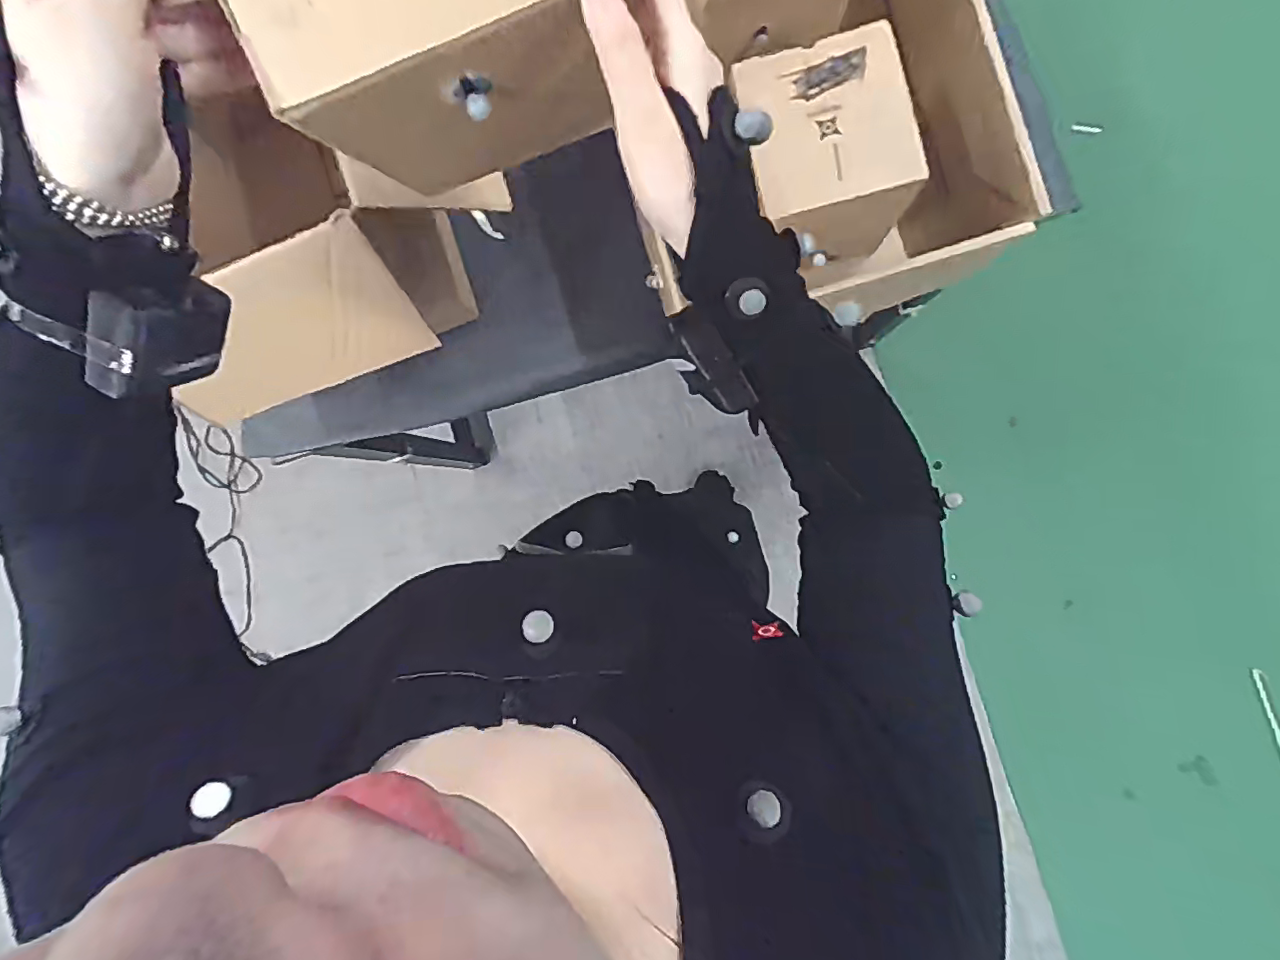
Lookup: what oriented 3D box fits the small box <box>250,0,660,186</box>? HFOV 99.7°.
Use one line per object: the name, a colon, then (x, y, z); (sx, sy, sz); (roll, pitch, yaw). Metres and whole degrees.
small box: (-0.093, -0.284, 0.289); (0.179, 0.176, 0.168); (-17, 106, 7)
